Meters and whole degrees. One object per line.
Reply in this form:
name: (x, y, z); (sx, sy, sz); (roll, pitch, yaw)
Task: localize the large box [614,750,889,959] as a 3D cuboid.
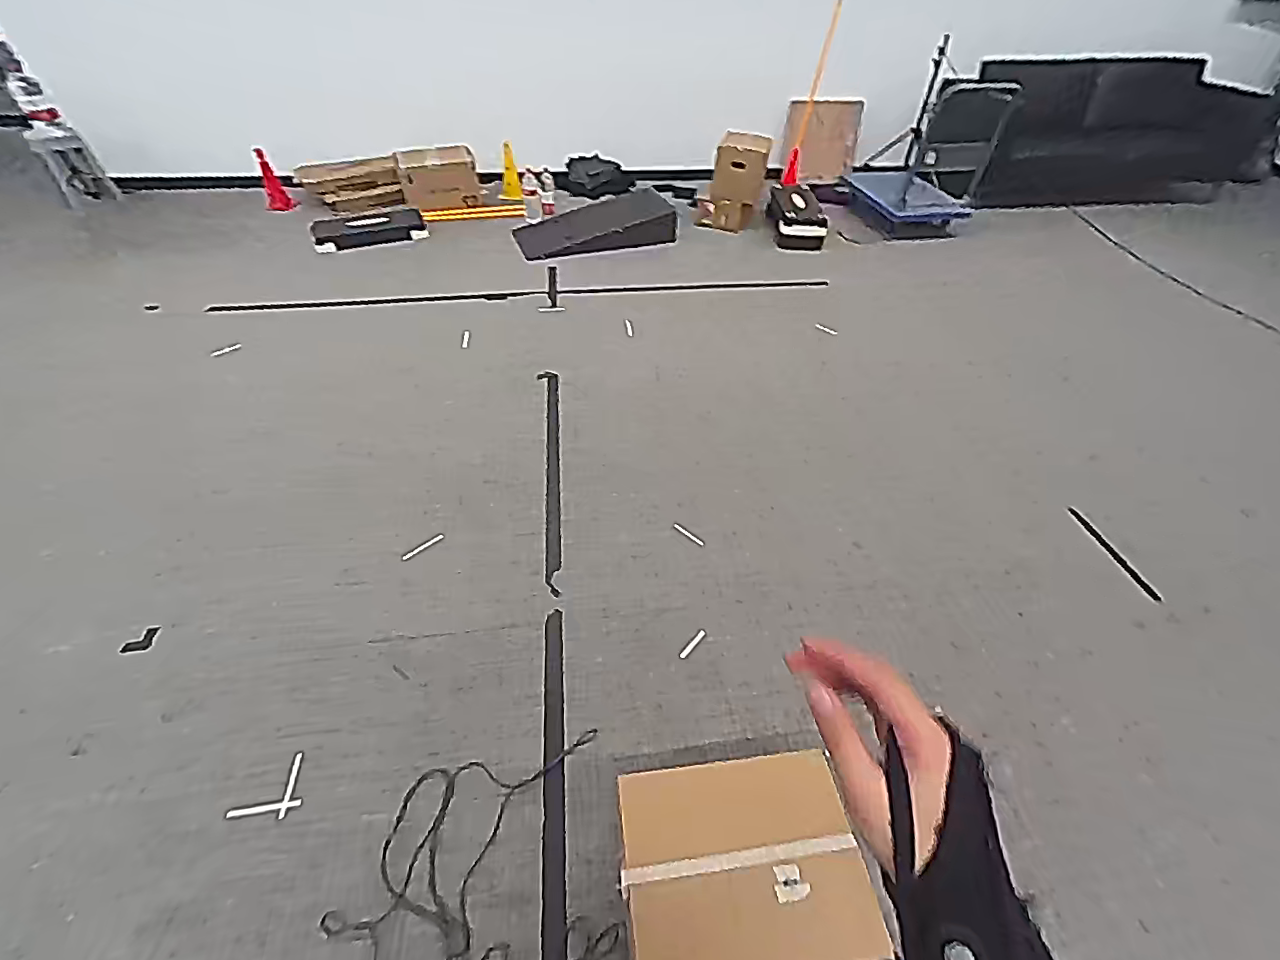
large box: (0.167, 0.755, 1.026); (0.408, 0.320, 0.320); (-4, 45, -8)
